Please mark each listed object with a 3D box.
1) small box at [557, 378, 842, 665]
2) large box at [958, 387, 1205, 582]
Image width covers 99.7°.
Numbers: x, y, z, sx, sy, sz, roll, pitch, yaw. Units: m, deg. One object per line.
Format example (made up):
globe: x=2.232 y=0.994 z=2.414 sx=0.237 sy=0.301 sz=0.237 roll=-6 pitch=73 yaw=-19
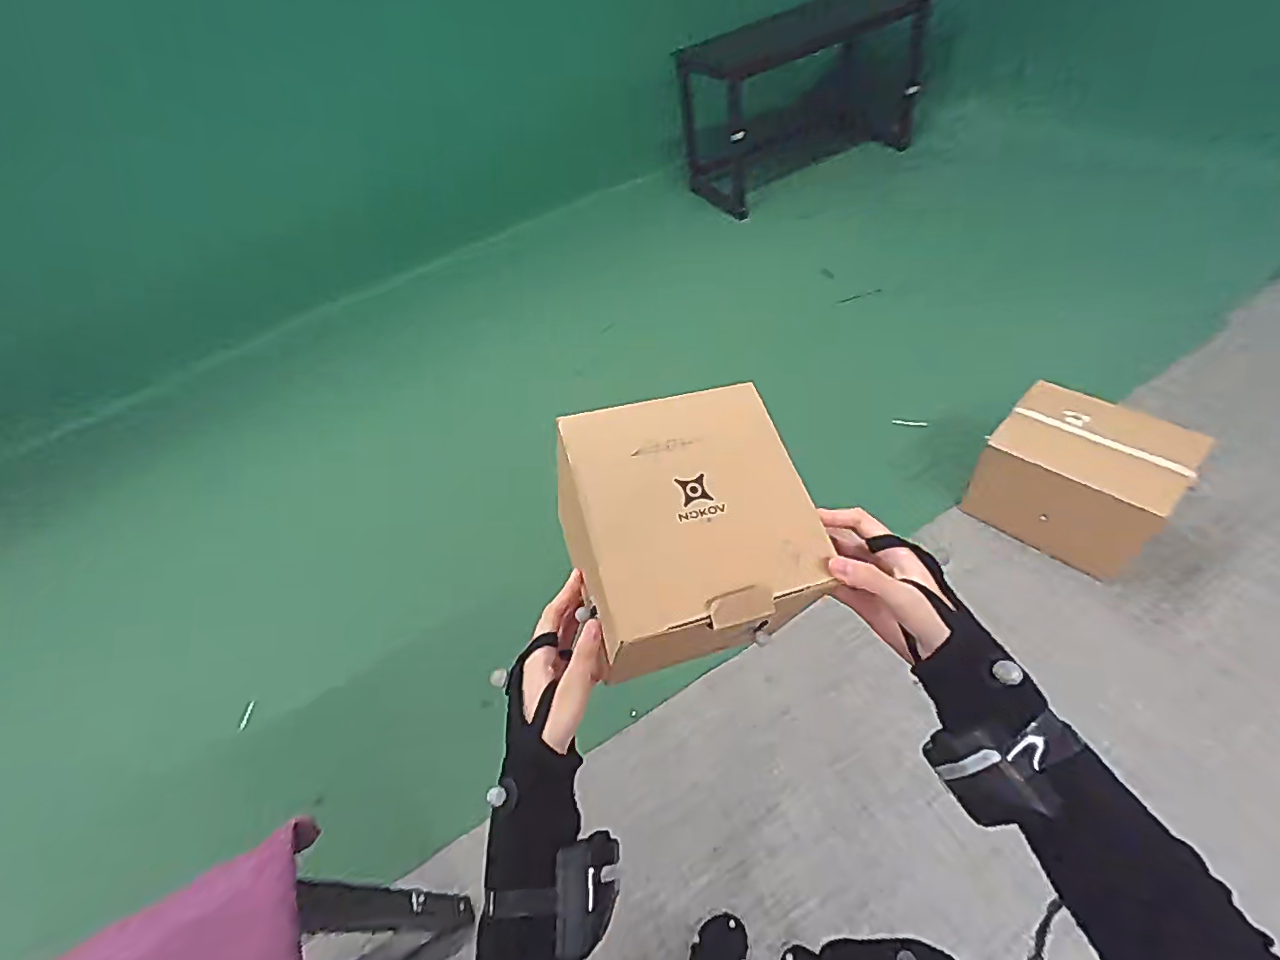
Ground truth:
small box: x=0.030 y=0.044 z=0.454 sx=0.168 sy=0.176 sz=0.179 roll=-11 pitch=62 yaw=-14
large box: x=1.194 y=0.006 z=1.507 sx=0.320 sy=0.320 sz=0.408 roll=-40 pitch=51 yaw=-21
